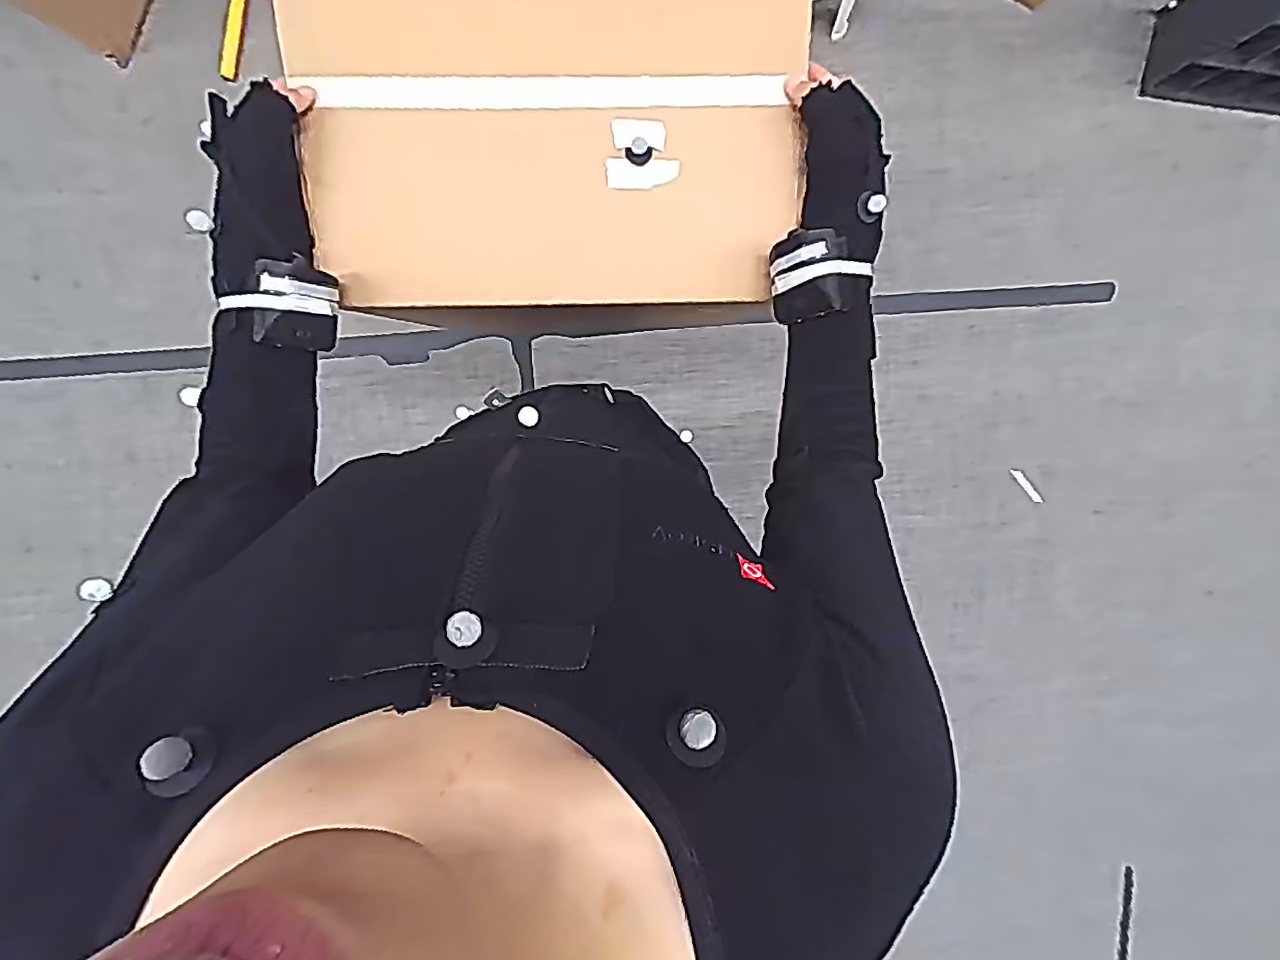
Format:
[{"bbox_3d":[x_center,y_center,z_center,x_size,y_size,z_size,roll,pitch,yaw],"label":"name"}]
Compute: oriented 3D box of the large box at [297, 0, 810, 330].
[{"bbox_3d":[-0.072,-0.336,0.577,0.408,0.320,0.320,-2,102,-3],"label":"large box"}]
